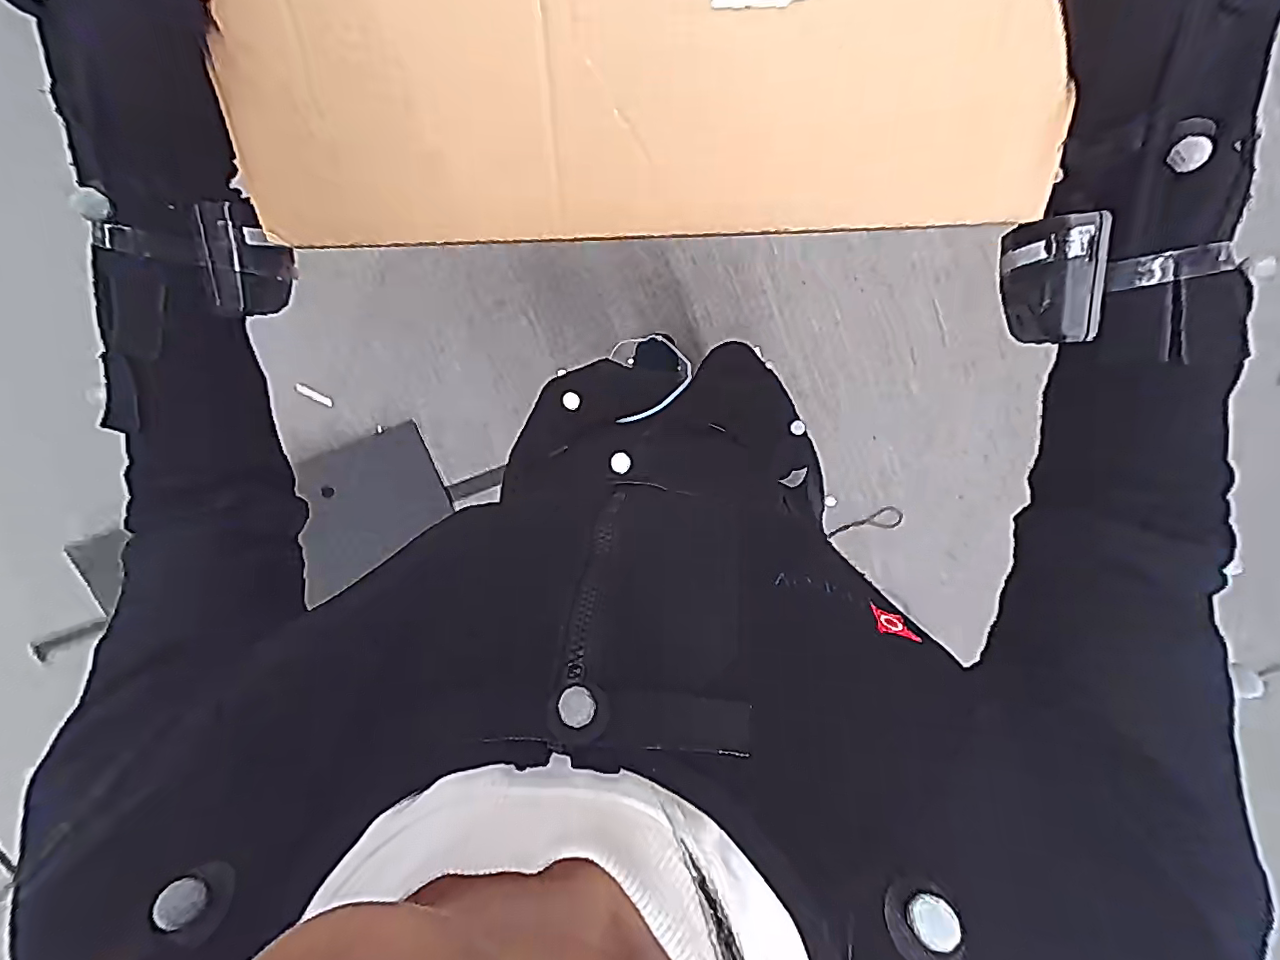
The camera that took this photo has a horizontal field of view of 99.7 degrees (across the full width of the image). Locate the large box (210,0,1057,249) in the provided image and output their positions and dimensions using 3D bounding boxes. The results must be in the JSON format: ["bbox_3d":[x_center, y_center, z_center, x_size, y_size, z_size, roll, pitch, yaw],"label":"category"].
[{"bbox_3d":[-0.006,-0.344,0.360,0.408,0.320,0.320,-2,117,4],"label":"large box"}]

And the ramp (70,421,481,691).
[{"bbox_3d":[-1.009,0.221,1.532,0.991,0.206,0.509,-19,101,10],"label":"ramp"}]
